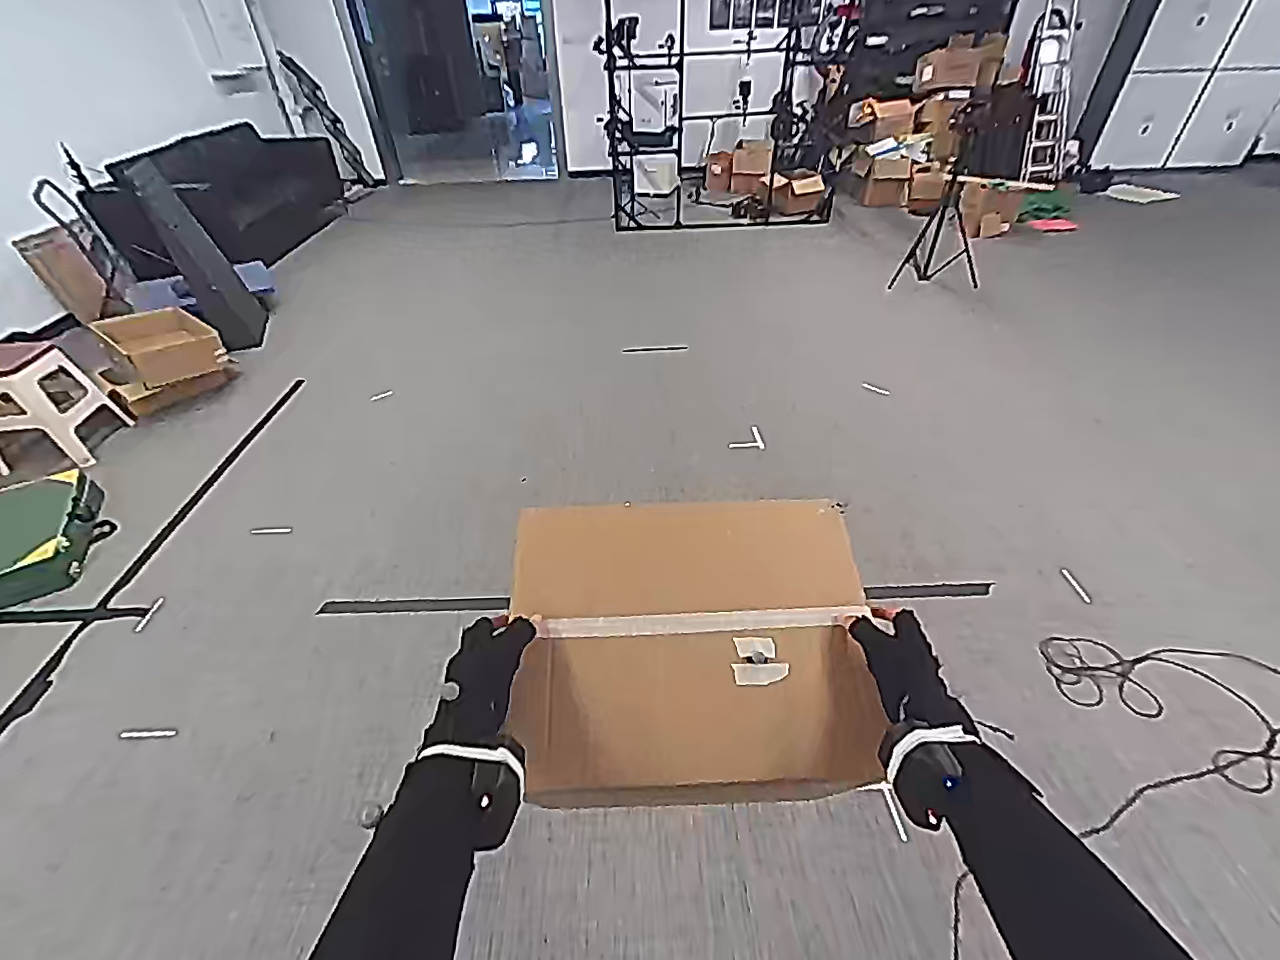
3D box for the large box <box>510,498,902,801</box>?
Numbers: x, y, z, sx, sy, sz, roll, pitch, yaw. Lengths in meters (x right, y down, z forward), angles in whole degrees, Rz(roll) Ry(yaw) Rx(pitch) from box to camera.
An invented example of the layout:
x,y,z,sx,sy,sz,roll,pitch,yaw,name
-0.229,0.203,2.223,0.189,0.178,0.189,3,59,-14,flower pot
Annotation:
x,y,z,sx,sy,sz,roll,pitch,yaw,name
0.059,0.241,0.742,0.408,0.320,0.320,-1,56,-2,large box
